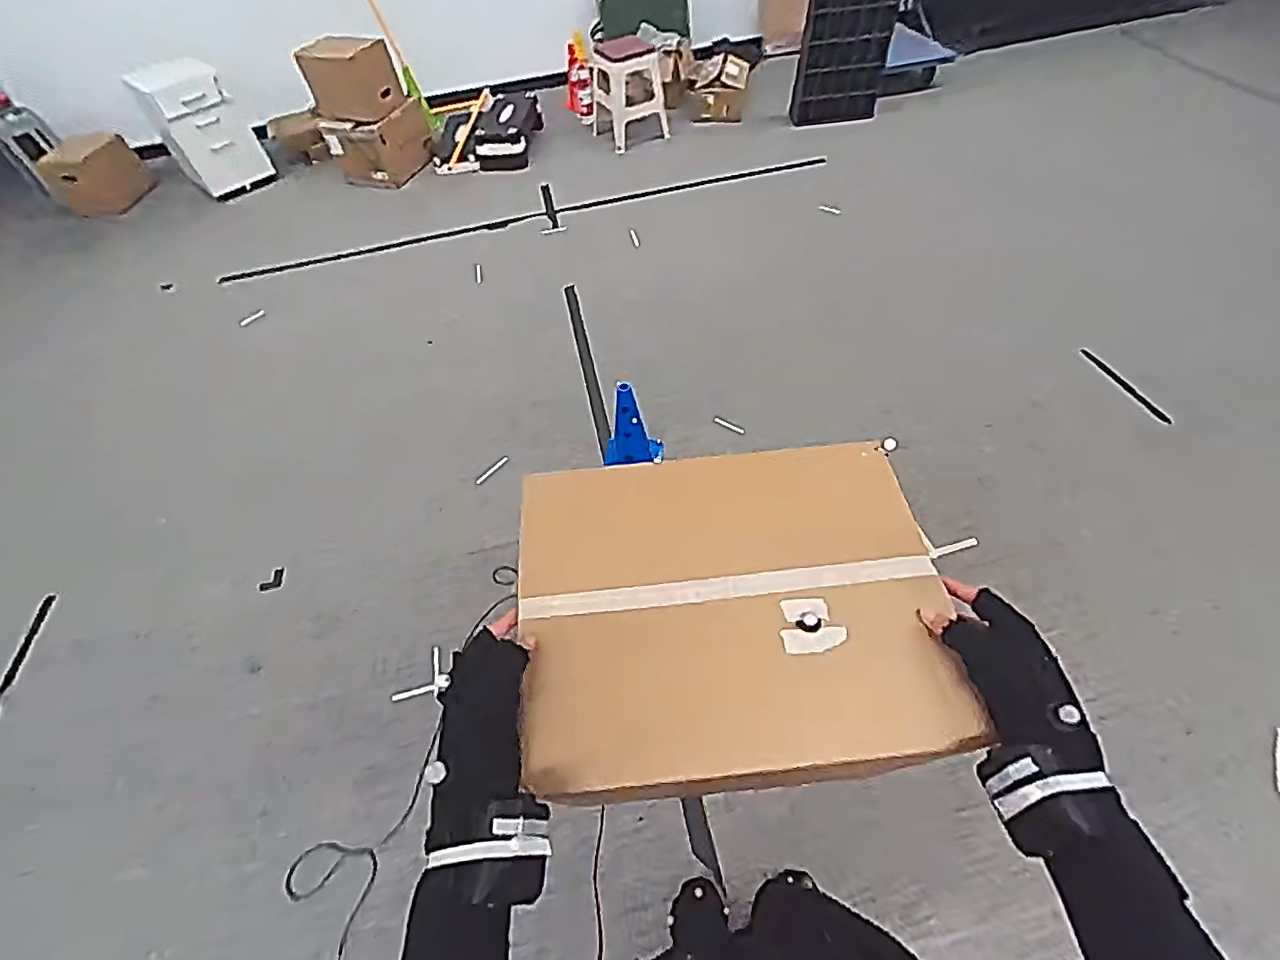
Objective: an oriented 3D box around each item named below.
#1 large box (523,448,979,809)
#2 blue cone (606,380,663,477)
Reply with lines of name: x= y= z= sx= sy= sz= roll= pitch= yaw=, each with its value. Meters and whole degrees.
large box: x=0.085 y=0.194 z=0.663 sx=0.408 sy=0.320 sz=0.320 roll=-6 pitch=57 yaw=-2
blue cone: x=-0.031 y=-0.169 z=1.772 sx=0.193 sy=0.380 sz=0.192 roll=4 pitch=54 yaw=8
